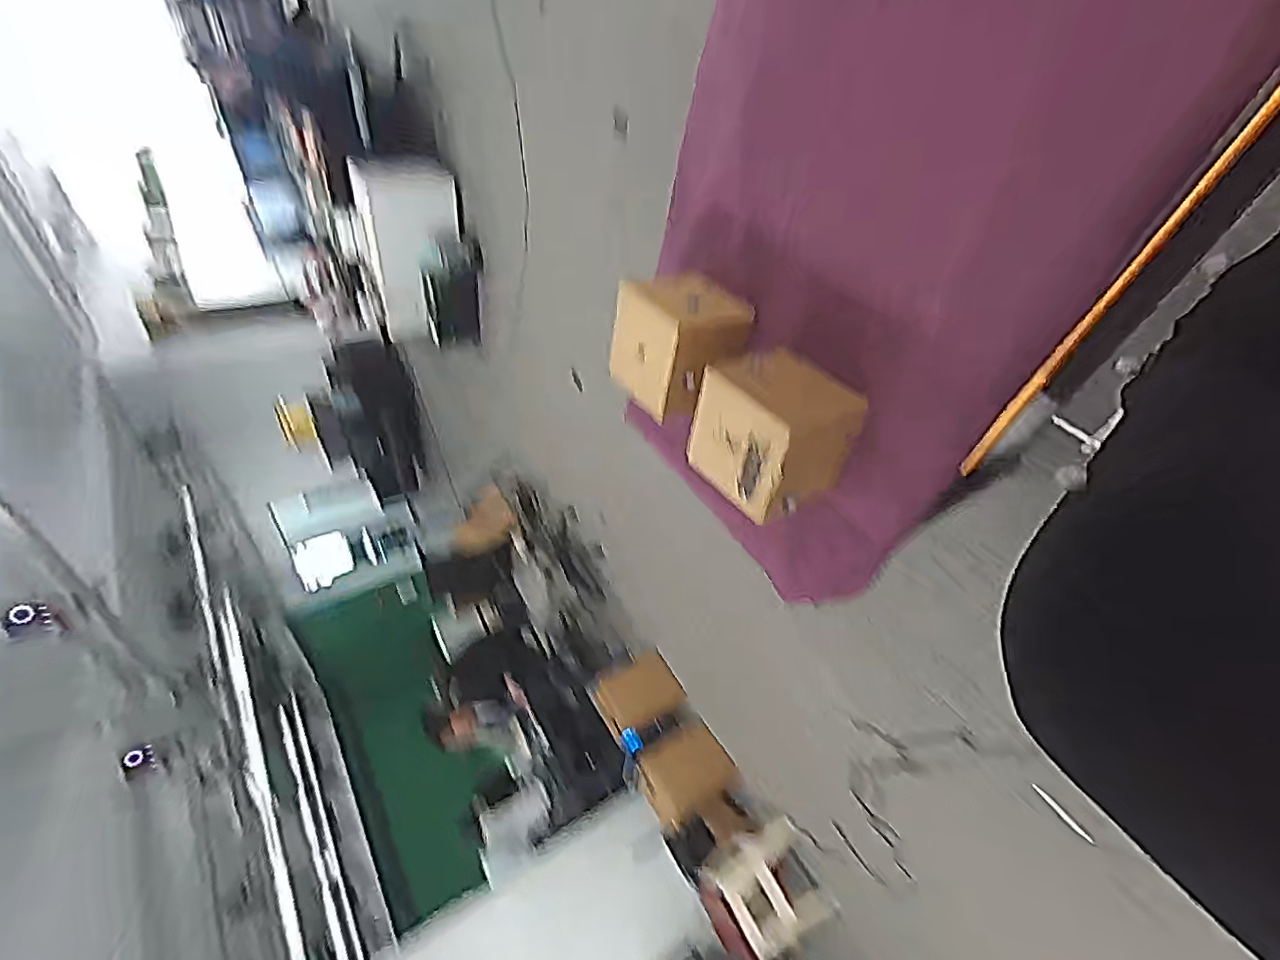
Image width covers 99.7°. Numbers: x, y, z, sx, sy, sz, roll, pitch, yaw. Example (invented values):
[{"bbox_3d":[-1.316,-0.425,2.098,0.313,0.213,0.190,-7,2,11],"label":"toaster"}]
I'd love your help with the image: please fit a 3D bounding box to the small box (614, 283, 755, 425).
[{"bbox_3d":[0.076,-0.228,0.946,0.168,0.176,0.179,47,143,35],"label":"small box"}]
